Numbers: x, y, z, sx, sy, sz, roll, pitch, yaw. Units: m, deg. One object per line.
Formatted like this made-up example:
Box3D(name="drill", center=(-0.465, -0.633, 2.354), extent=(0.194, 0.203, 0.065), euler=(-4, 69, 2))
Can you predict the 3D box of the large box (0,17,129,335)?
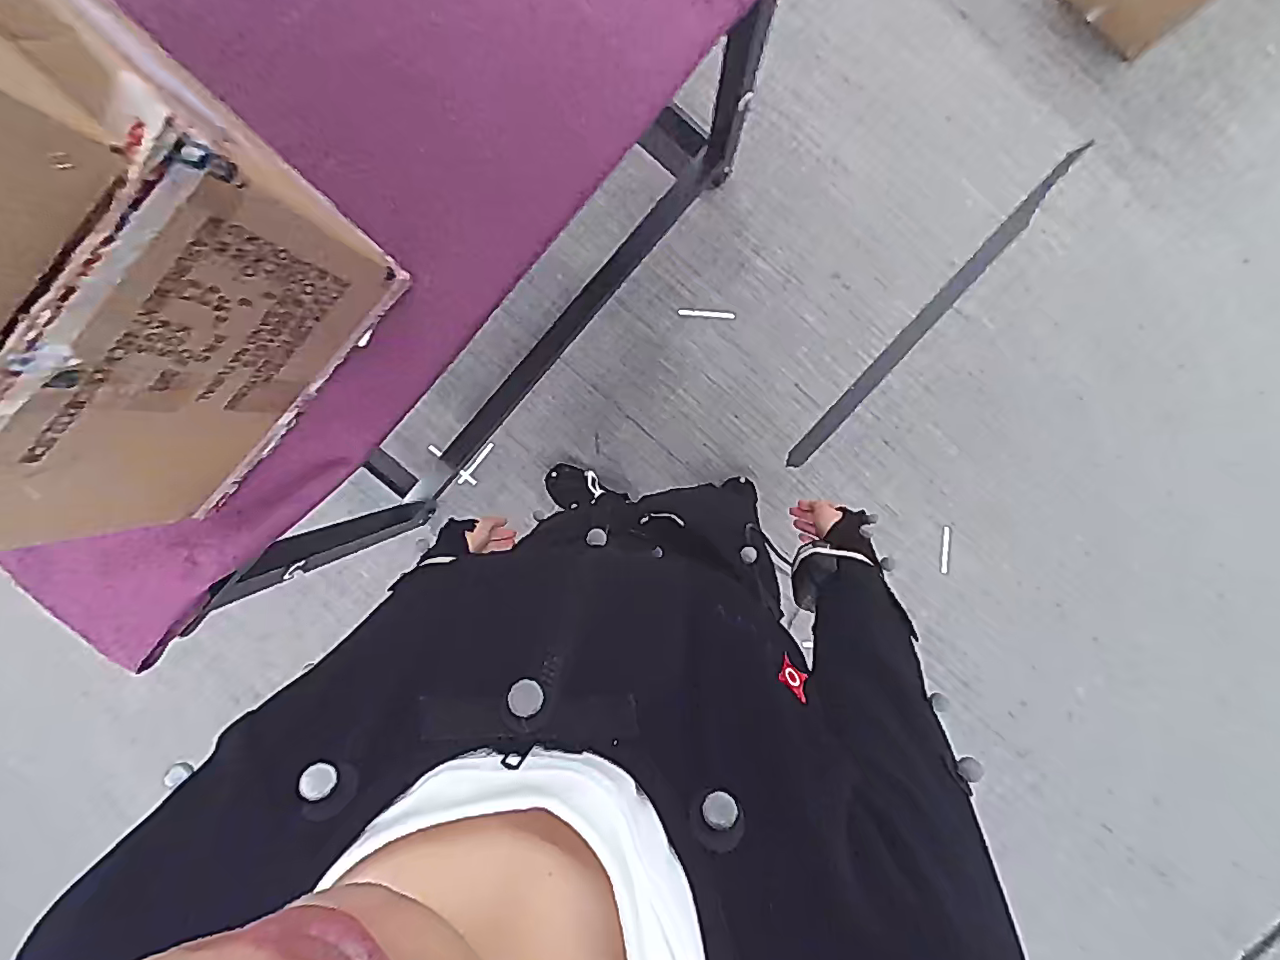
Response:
Box3D(name="large box", center=(-0.554, -0.212, 0.185), extent=(0.408, 0.320, 0.320), euler=(41, 95, -2))
